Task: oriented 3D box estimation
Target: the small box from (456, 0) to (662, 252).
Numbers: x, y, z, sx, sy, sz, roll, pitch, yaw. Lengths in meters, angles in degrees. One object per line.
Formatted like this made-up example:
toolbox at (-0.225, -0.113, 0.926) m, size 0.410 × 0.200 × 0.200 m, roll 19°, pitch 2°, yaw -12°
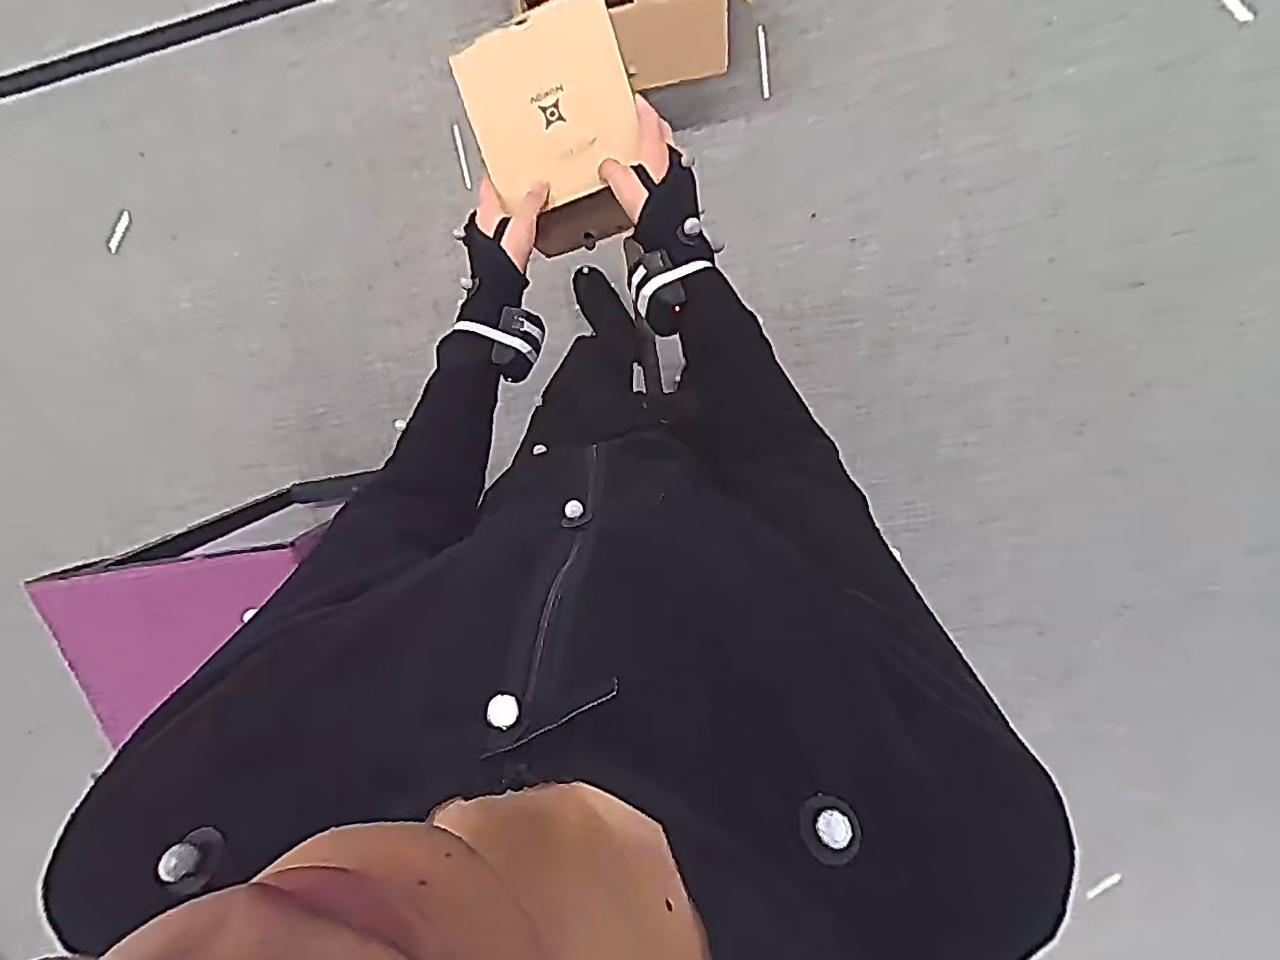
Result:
small box at (-0.078, -0.391, 0.621) m, size 0.168 × 0.176 × 0.179 m, roll -16°, pitch 97°, yaw 9°
